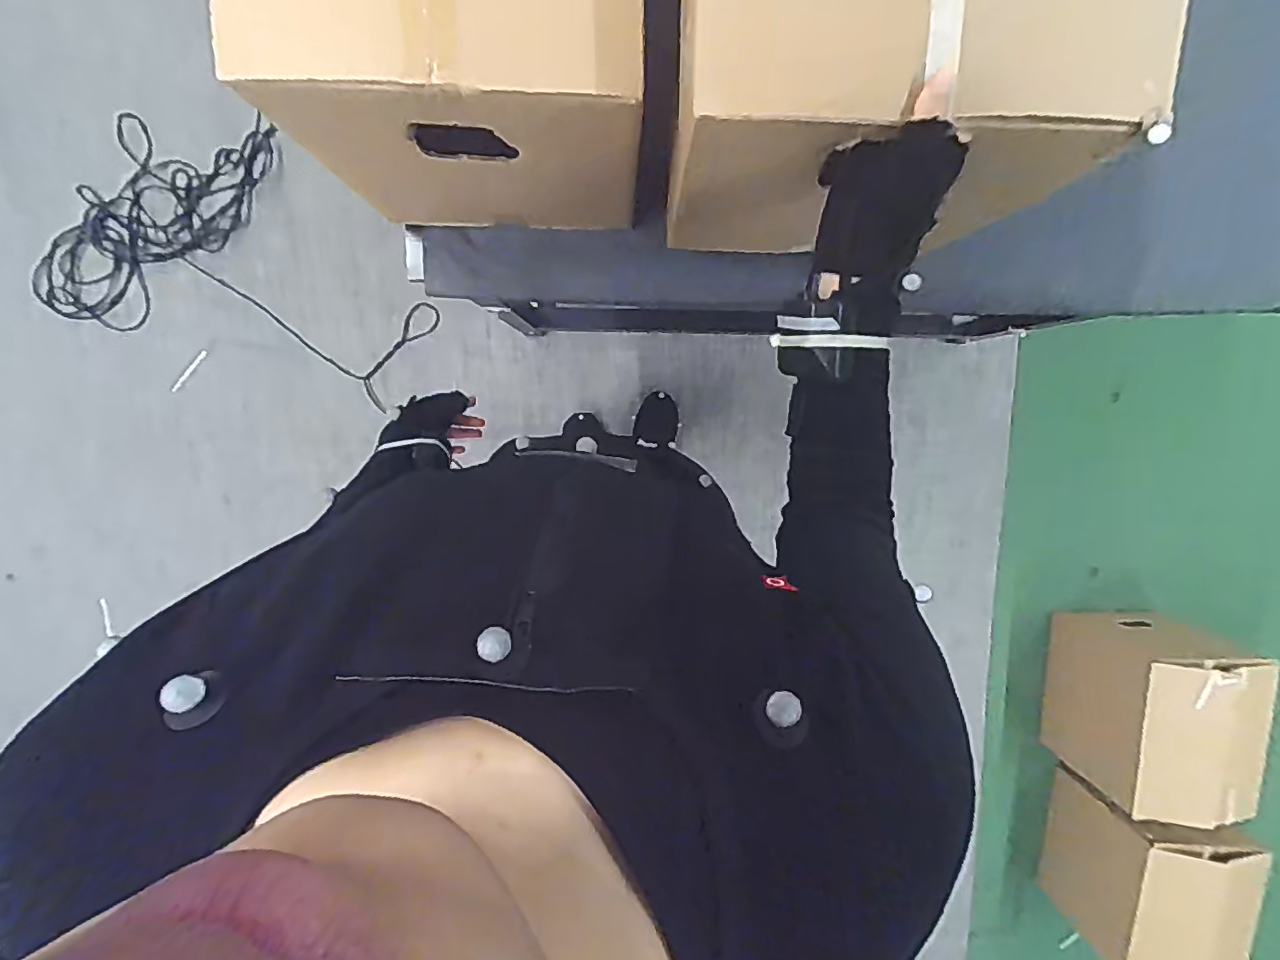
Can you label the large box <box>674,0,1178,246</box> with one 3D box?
[{"bbox_3d":[0.192,-0.456,0.471,0.320,0.320,0.408,1,99,1],"label":"large box"}]
